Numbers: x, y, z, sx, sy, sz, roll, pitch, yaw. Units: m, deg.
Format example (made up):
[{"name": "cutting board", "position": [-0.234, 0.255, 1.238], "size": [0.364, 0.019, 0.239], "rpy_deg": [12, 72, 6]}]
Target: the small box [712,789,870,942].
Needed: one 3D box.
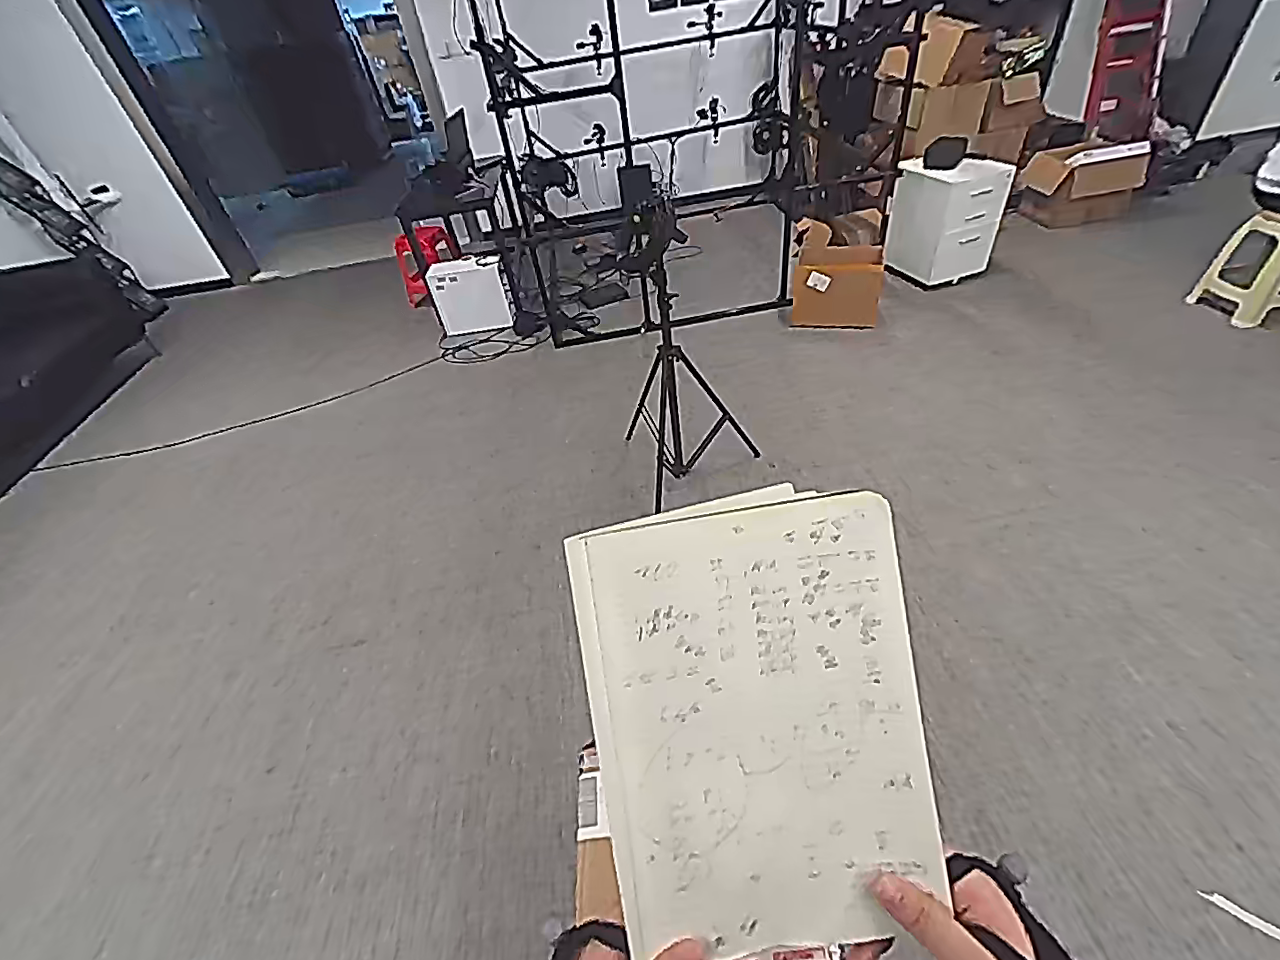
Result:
[{"name": "small box", "position": [0.210, 0.557, 0.807], "size": [0.179, 0.176, 0.168], "rpy_deg": [-11, 42, -4]}]

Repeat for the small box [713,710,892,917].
[{"name": "small box", "position": [0.192, 0.431, 0.703], "size": [0.168, 0.176, 0.179], "rpy_deg": [-8, 42, -2]}]
